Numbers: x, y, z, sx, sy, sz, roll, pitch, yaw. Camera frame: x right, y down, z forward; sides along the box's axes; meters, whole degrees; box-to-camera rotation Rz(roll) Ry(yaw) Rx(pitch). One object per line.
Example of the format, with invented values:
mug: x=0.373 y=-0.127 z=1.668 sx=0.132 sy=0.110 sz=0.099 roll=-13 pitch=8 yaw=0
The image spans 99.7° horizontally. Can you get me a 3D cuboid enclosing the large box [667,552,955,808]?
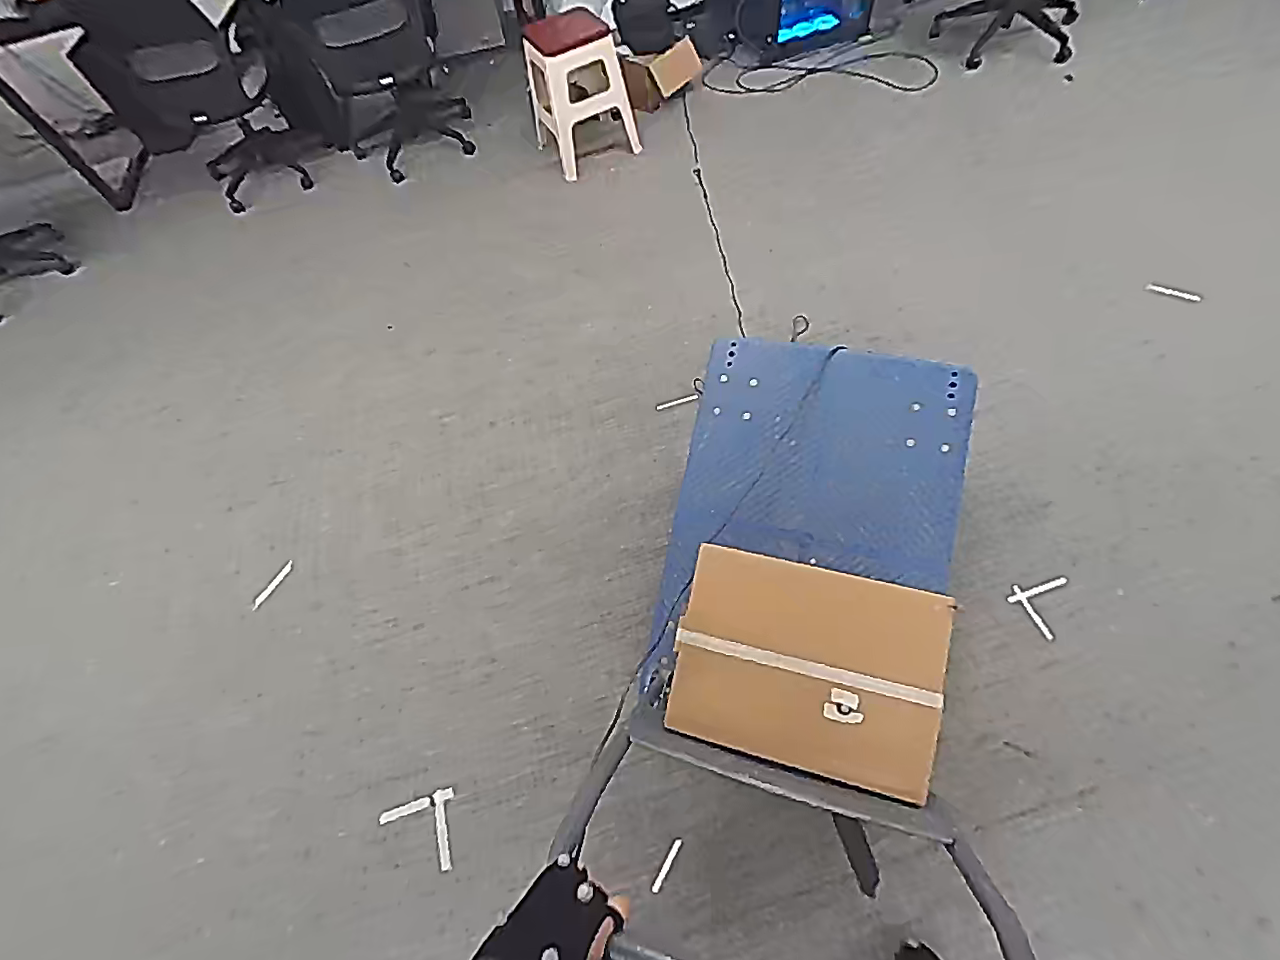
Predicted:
large box: x=0.291 y=0.326 z=1.000 sx=0.408 sy=0.320 sz=0.320 roll=12 pitch=85 yaw=13
